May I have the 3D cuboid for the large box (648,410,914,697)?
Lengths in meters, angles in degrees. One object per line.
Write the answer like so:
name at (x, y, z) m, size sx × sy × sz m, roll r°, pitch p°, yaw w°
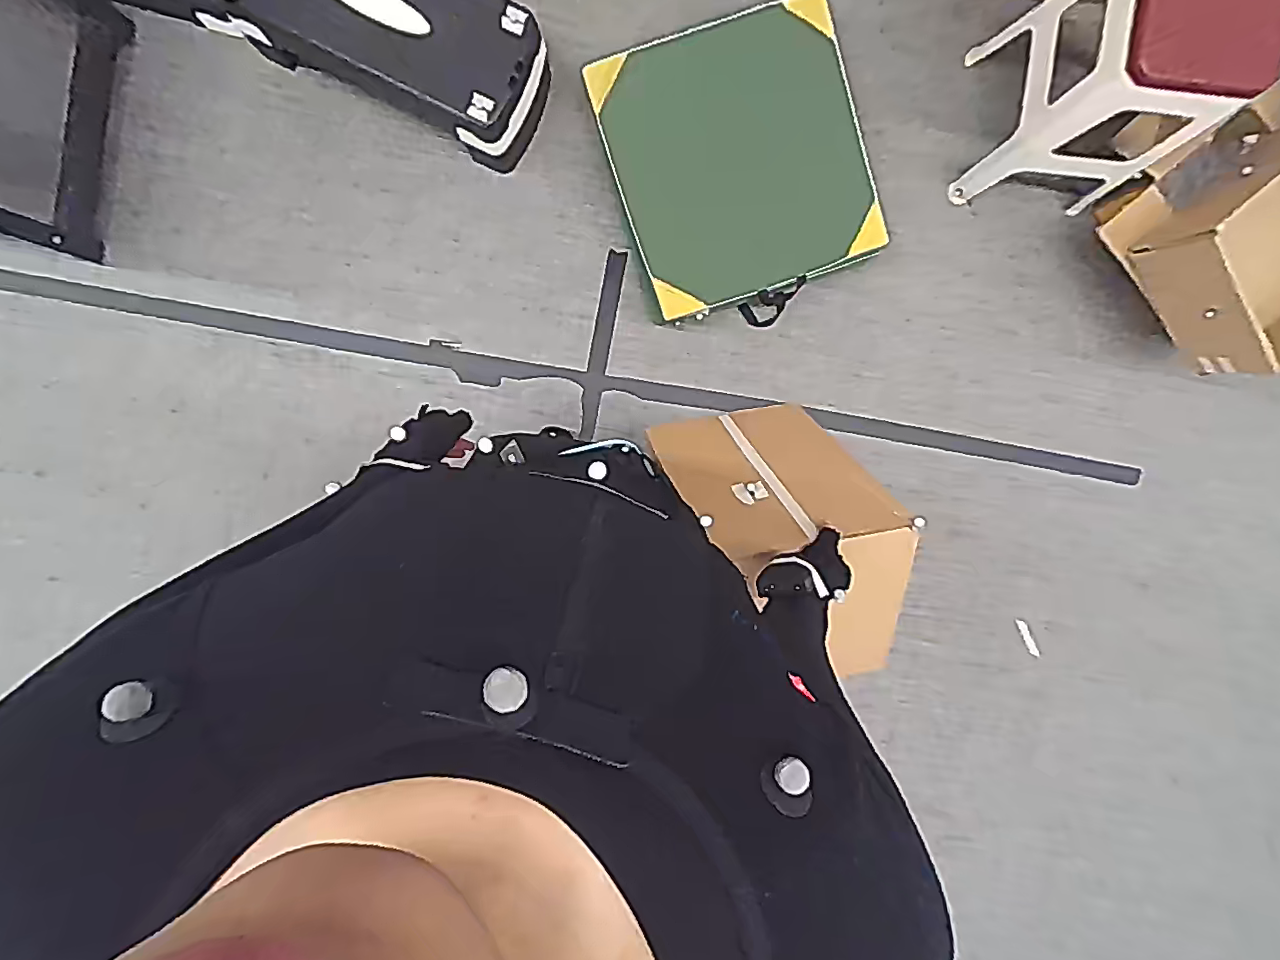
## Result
large box at (0.212, 0.112, 0.994) m, size 0.320 × 0.408 × 0.320 m, roll -10°, pitch 125°, yaw -6°
